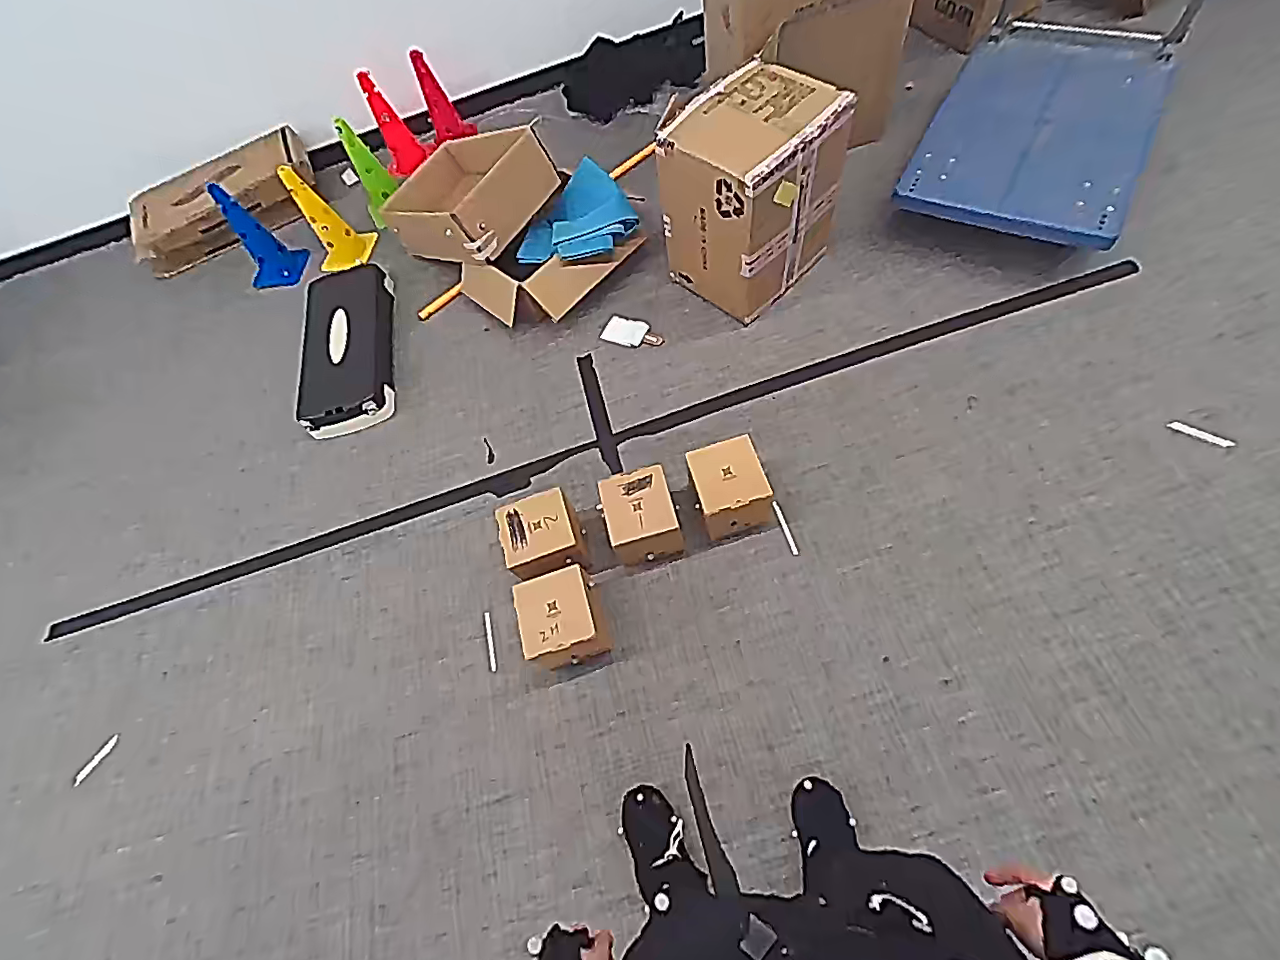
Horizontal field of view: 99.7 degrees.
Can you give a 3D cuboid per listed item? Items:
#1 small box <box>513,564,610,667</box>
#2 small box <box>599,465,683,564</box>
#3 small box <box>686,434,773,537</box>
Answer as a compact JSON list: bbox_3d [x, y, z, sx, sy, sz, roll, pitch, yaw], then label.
[{"bbox_3d":[-0.181,0.323,1.272,0.168,0.176,0.179,-19,62,1],"label":"small box"},{"bbox_3d":[0.005,0.091,1.355,0.168,0.176,0.179,-16,63,2],"label":"small box"},{"bbox_3d":[0.220,0.018,1.356,0.168,0.176,0.179,-17,63,1],"label":"small box"}]
